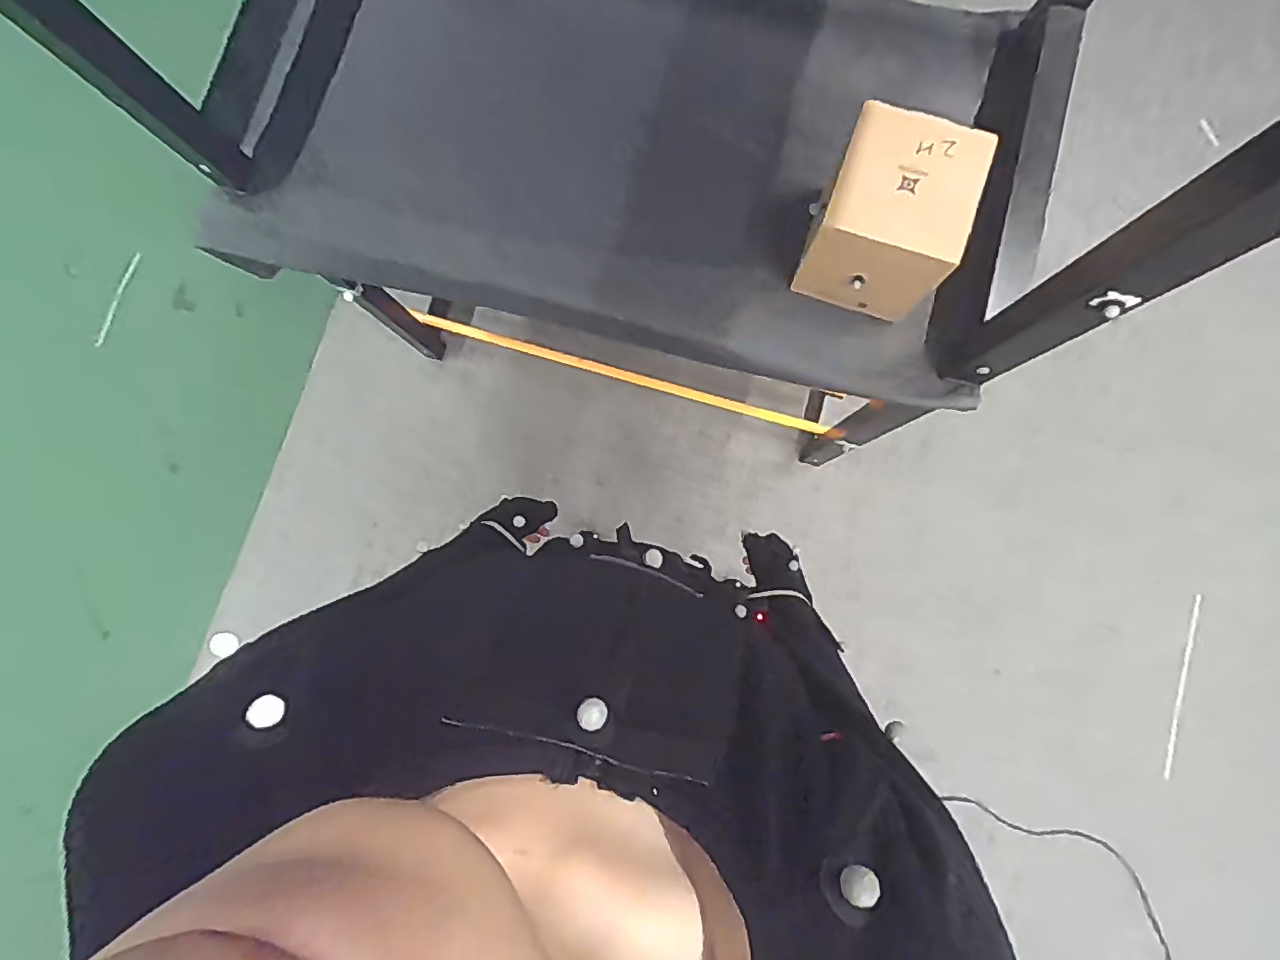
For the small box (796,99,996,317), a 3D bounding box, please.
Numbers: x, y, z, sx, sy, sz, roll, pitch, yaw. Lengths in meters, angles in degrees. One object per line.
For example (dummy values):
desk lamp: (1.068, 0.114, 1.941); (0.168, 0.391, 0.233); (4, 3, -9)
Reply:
small box: (0.322, -0.345, 0.719); (0.168, 0.176, 0.179); (20, 84, 4)
